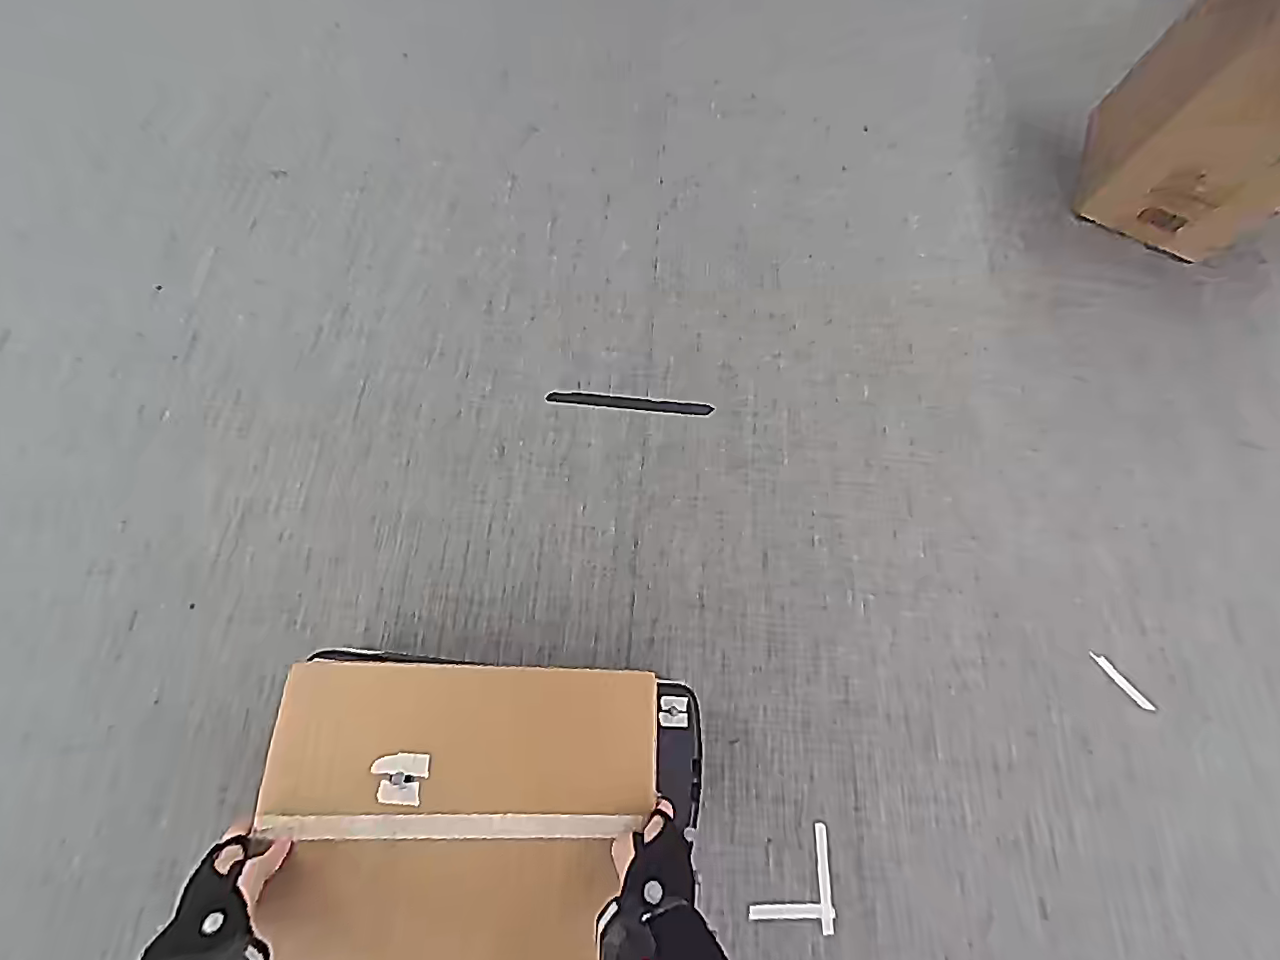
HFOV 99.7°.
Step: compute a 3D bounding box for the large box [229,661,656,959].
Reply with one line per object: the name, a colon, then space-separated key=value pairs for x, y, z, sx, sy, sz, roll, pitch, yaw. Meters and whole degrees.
large box: x=-0.192 y=0.402 z=0.690 sx=0.408 sy=0.320 sz=0.320 roll=3 pitch=68 yaw=-4
